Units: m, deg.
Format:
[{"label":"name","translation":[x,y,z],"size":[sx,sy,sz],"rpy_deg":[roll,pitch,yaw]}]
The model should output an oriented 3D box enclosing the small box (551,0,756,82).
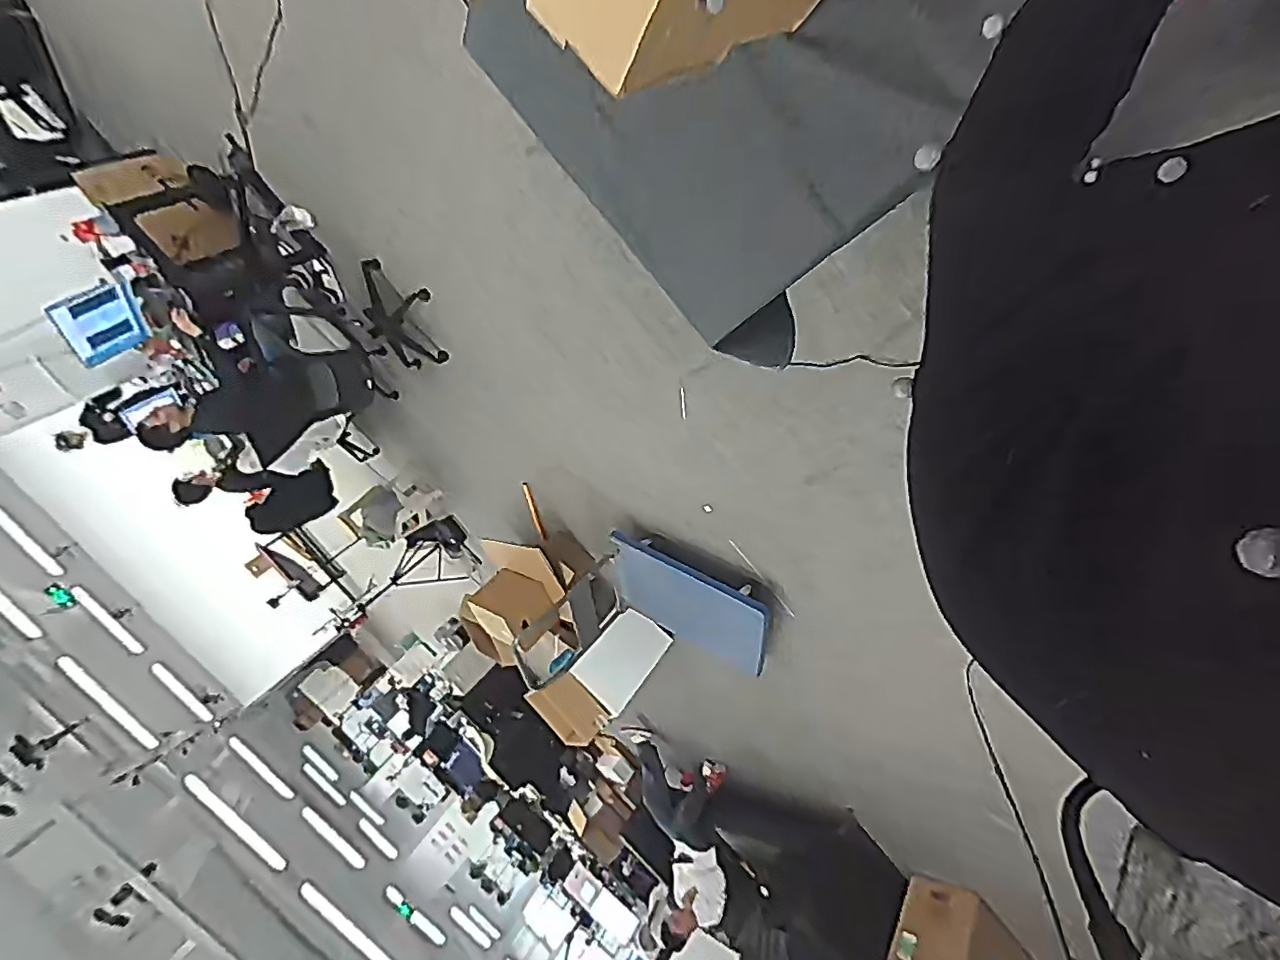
[{"label":"small box","translation":[0.019,-0.447,0.394],"size":[0.168,0.176,0.179],"rpy_deg":[46,147,-3]}]
